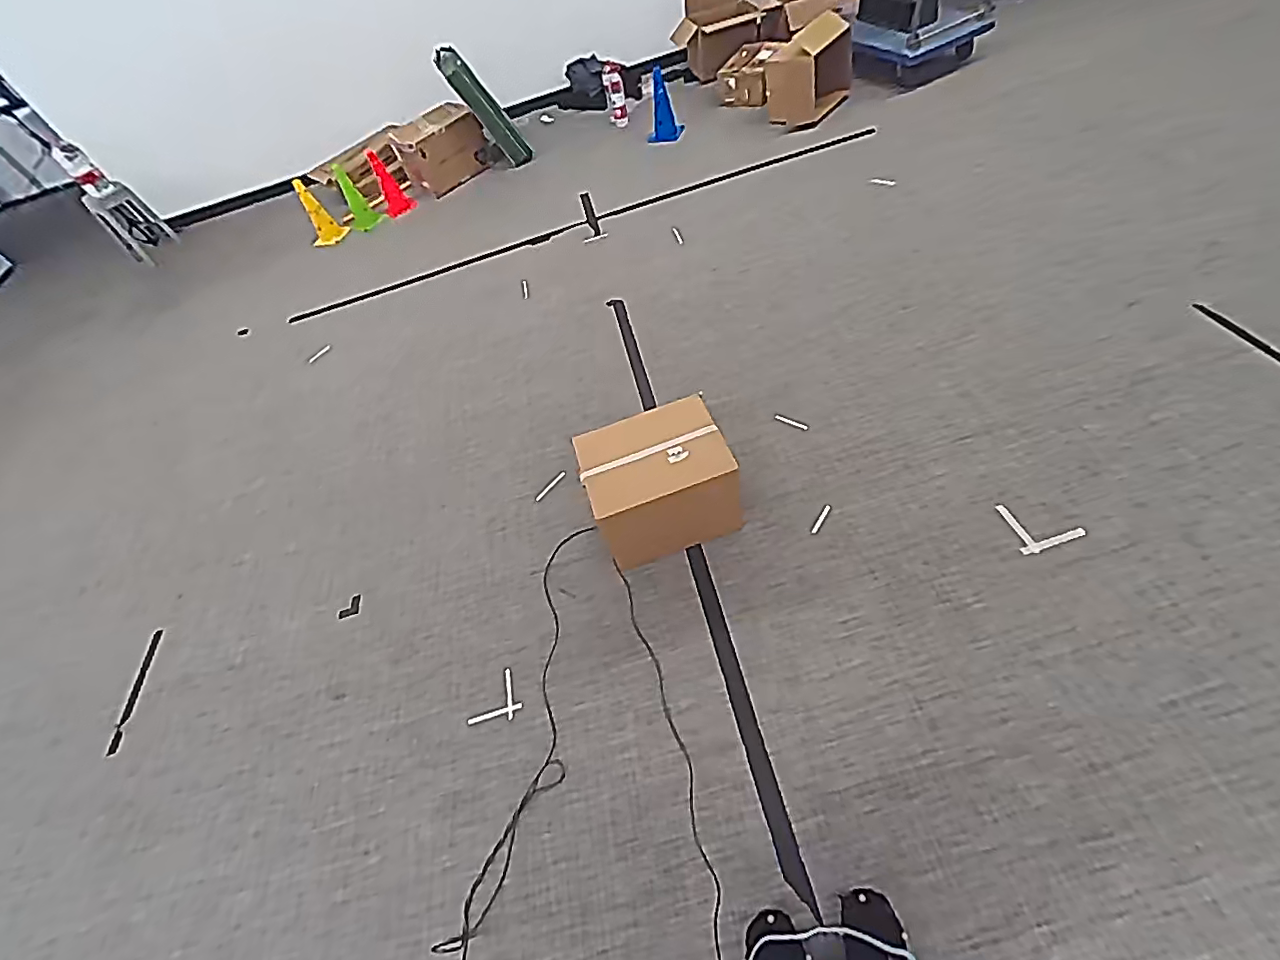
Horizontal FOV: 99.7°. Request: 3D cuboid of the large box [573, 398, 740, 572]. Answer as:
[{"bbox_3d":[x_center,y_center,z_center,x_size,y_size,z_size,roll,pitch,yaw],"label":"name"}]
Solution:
[{"bbox_3d":[0.054,0.020,1.626,0.408,0.320,0.320,-19,53,-2],"label":"large box"}]
